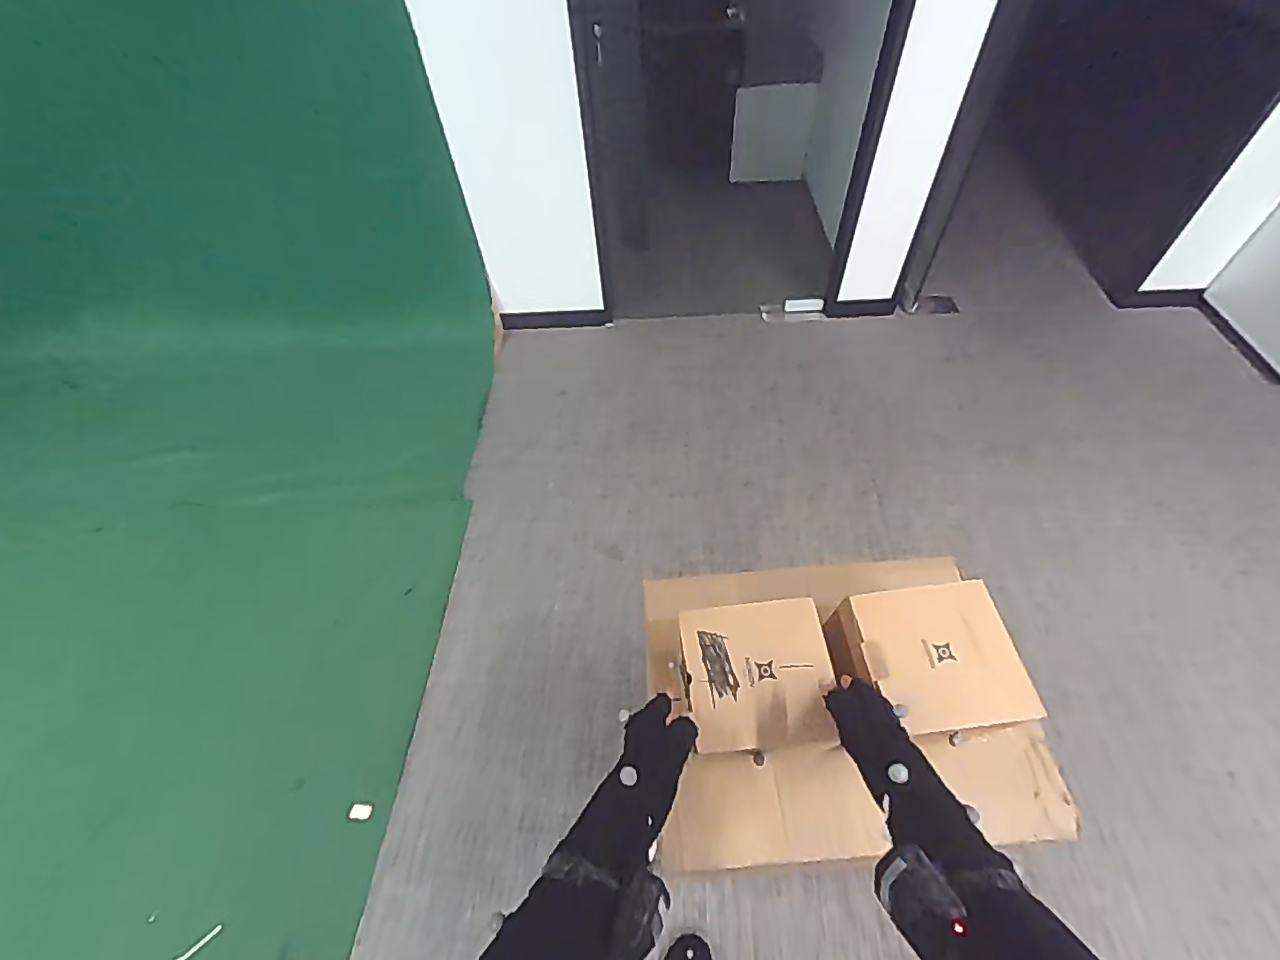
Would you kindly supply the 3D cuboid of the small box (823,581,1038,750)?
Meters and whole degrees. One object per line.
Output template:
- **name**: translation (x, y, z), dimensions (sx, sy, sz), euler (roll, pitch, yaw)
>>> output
- **small box**: translation (0.356, 0.249, 0.711), dimensions (0.179, 0.176, 0.168), euler (-6, 58, -3)

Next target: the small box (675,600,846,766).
- **small box**: translation (0.141, 0.270, 0.706), dimensions (0.179, 0.176, 0.168), euler (-5, 58, -1)
